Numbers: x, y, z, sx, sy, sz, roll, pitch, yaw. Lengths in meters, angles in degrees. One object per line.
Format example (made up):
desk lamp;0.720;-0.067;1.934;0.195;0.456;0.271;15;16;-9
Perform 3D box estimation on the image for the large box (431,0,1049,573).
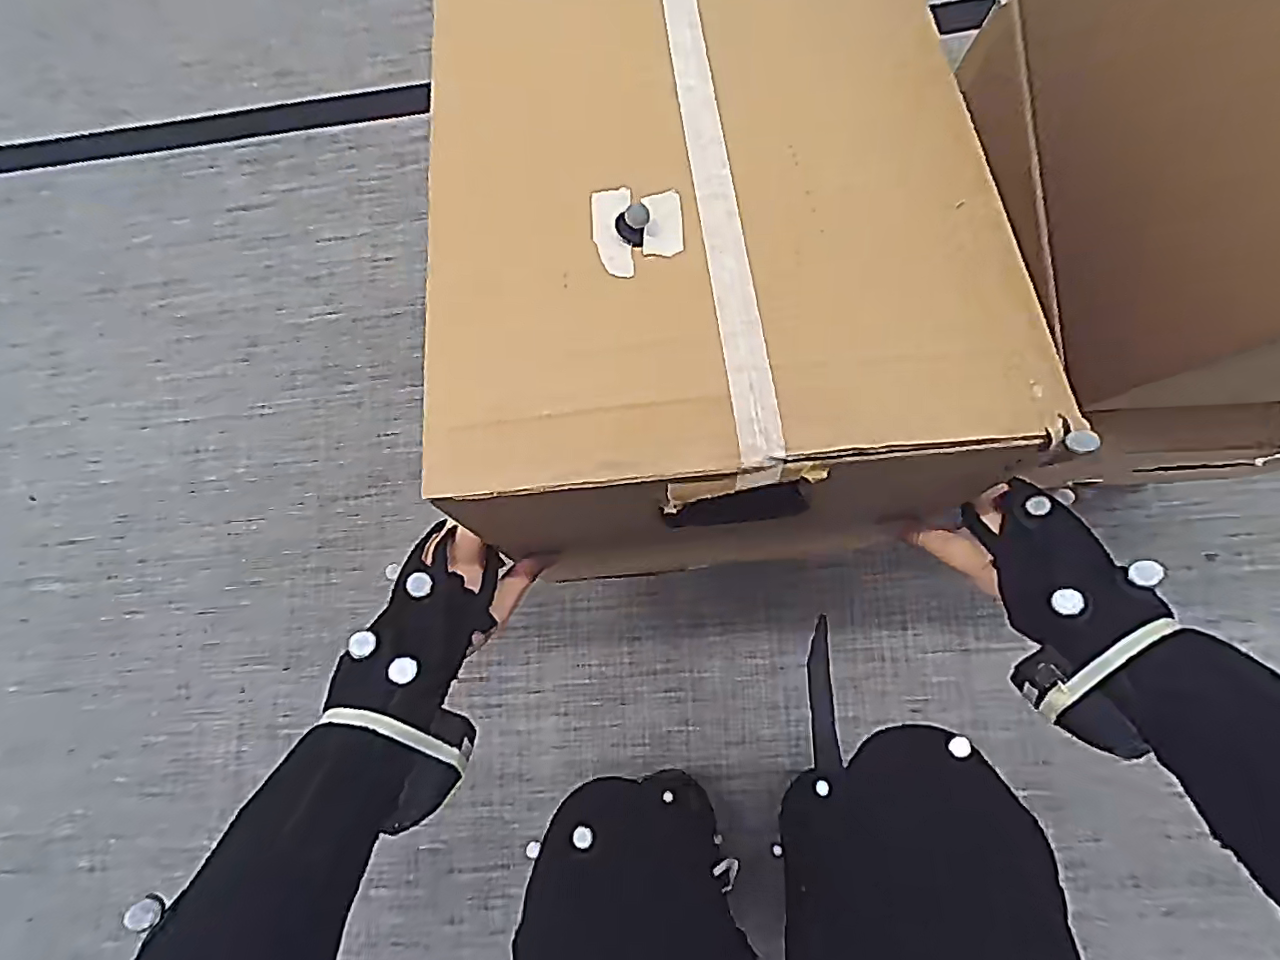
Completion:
large box;0.031;-0.152;0.466;0.320;0.320;0.408;-6;73;-1
